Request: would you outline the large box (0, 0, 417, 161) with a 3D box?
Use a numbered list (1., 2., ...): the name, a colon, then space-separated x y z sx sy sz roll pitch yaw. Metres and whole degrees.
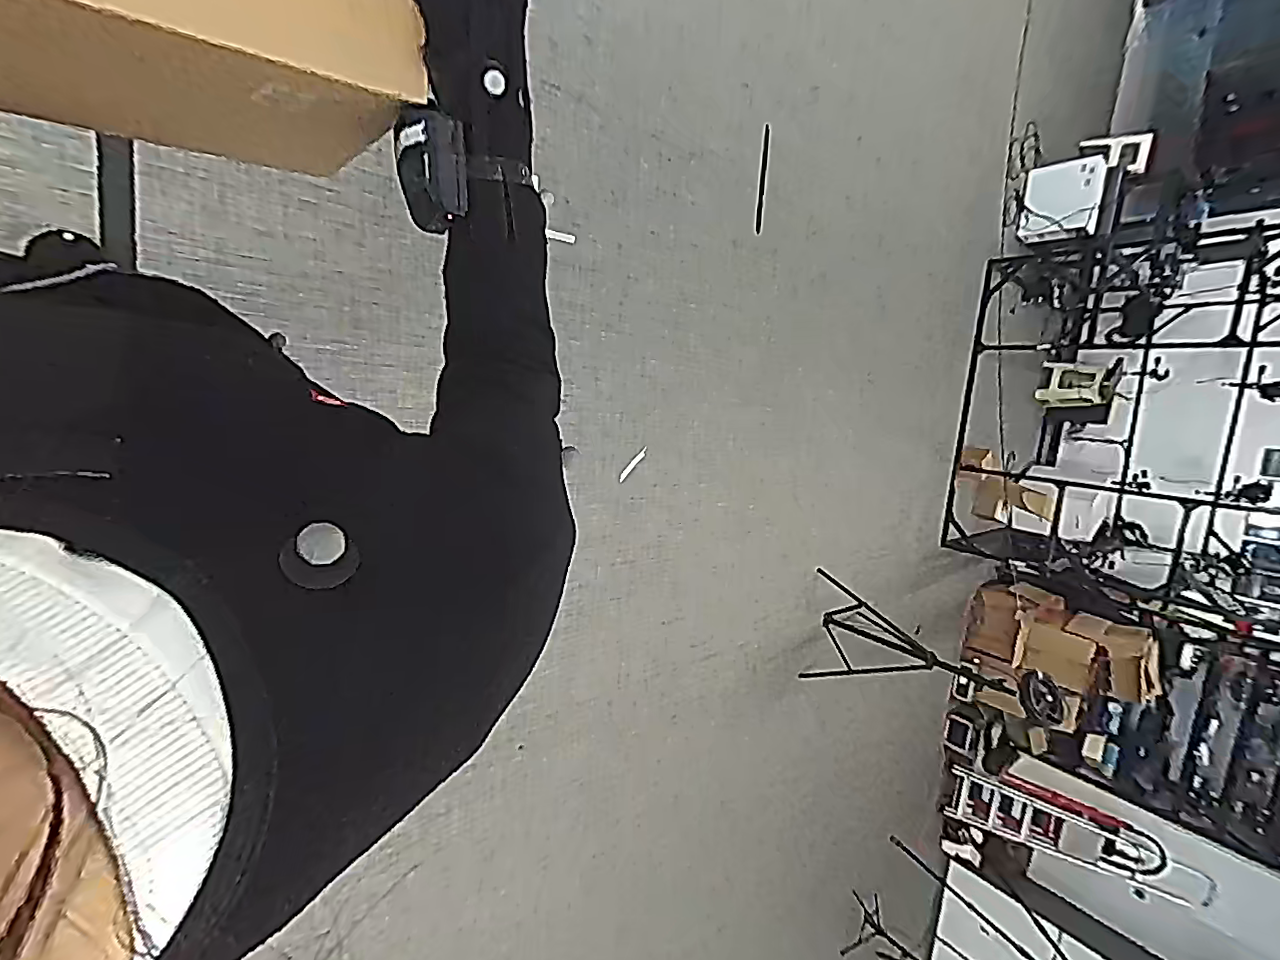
1. large box: -0.382 -0.408 0.290 0.408 0.320 0.320 -9 112 -39
